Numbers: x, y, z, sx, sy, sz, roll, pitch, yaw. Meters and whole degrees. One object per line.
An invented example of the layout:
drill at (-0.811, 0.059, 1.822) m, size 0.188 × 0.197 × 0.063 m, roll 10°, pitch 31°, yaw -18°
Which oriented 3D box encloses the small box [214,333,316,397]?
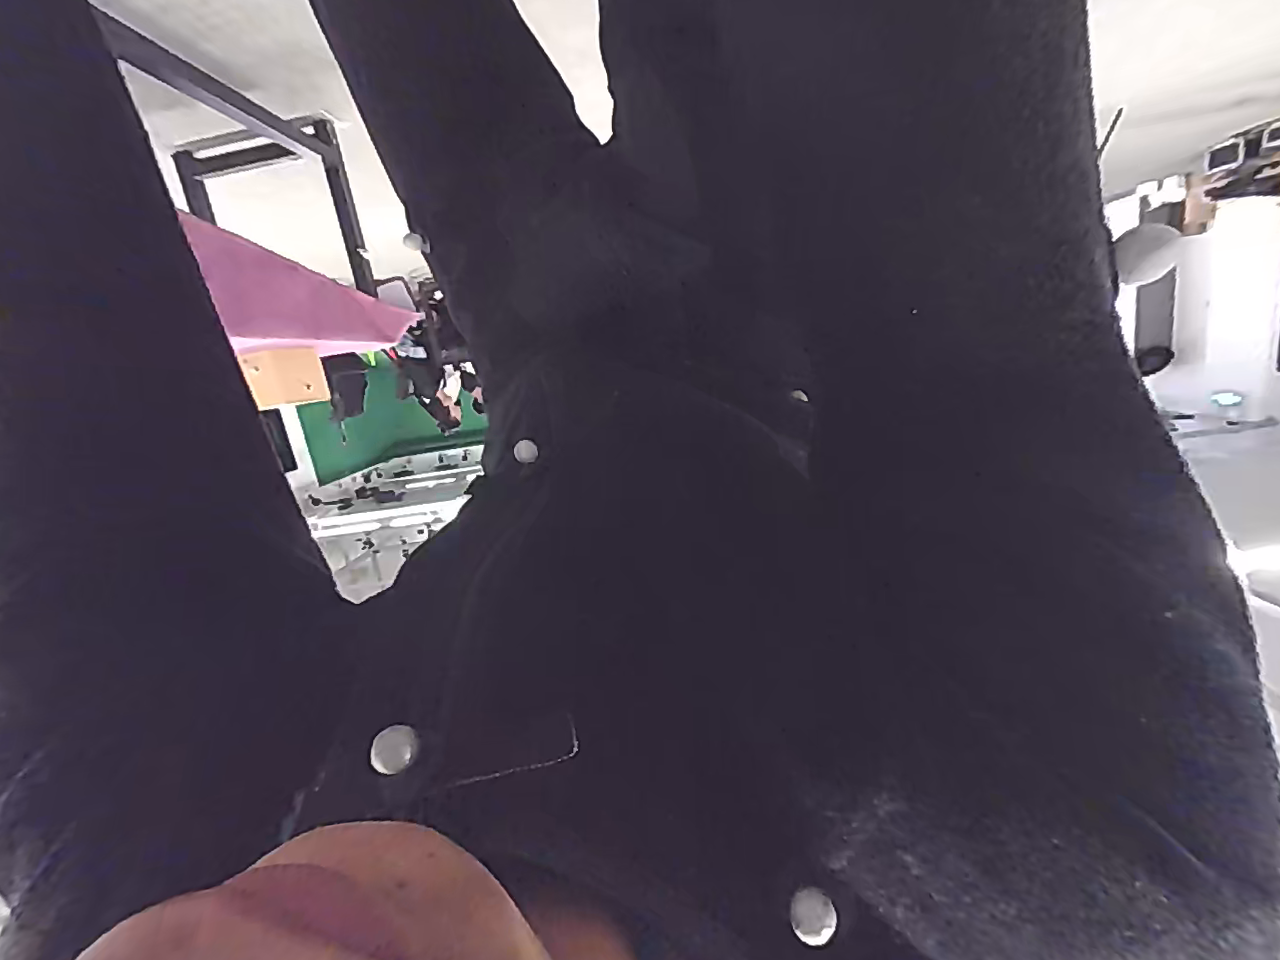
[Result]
small box at (-1.161, -0.362, 1.680) m, size 0.168 × 0.176 × 0.179 m, roll -6°, pitch -166°, yaw 14°
